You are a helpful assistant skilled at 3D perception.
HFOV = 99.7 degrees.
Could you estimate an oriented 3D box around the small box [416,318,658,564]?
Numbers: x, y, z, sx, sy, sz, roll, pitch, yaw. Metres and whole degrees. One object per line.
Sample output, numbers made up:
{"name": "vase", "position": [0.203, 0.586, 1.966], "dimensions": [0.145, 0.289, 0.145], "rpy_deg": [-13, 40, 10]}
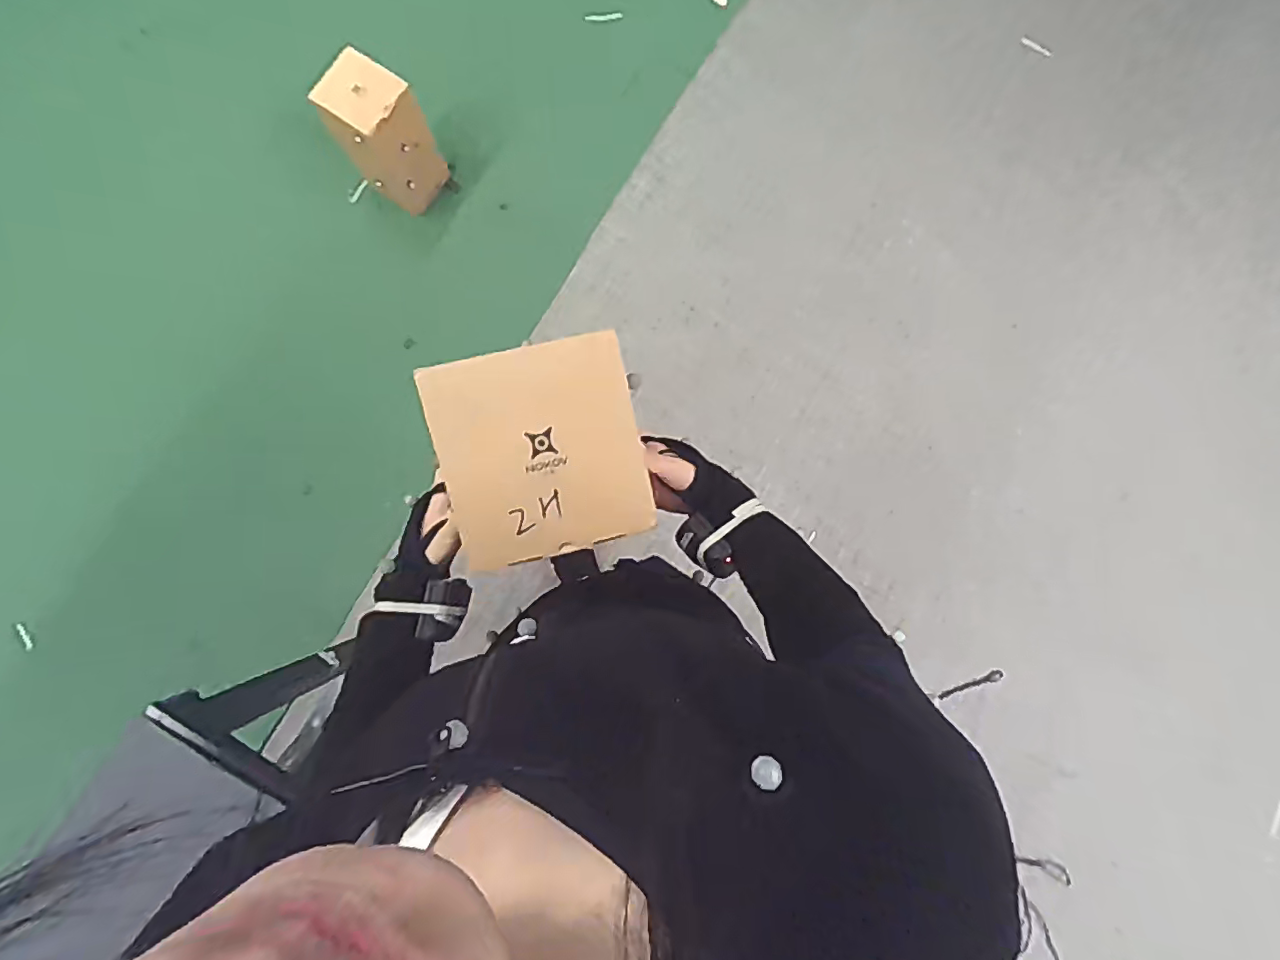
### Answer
{"name": "small box", "position": [-0.090, -0.040, 0.516], "dimensions": [0.168, 0.176, 0.179], "rpy_deg": [-13, 99, -6]}

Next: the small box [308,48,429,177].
{"name": "small box", "position": [-0.666, -0.903, 1.347], "dimensions": [0.179, 0.176, 0.168], "rpy_deg": [32, 83, 1]}
